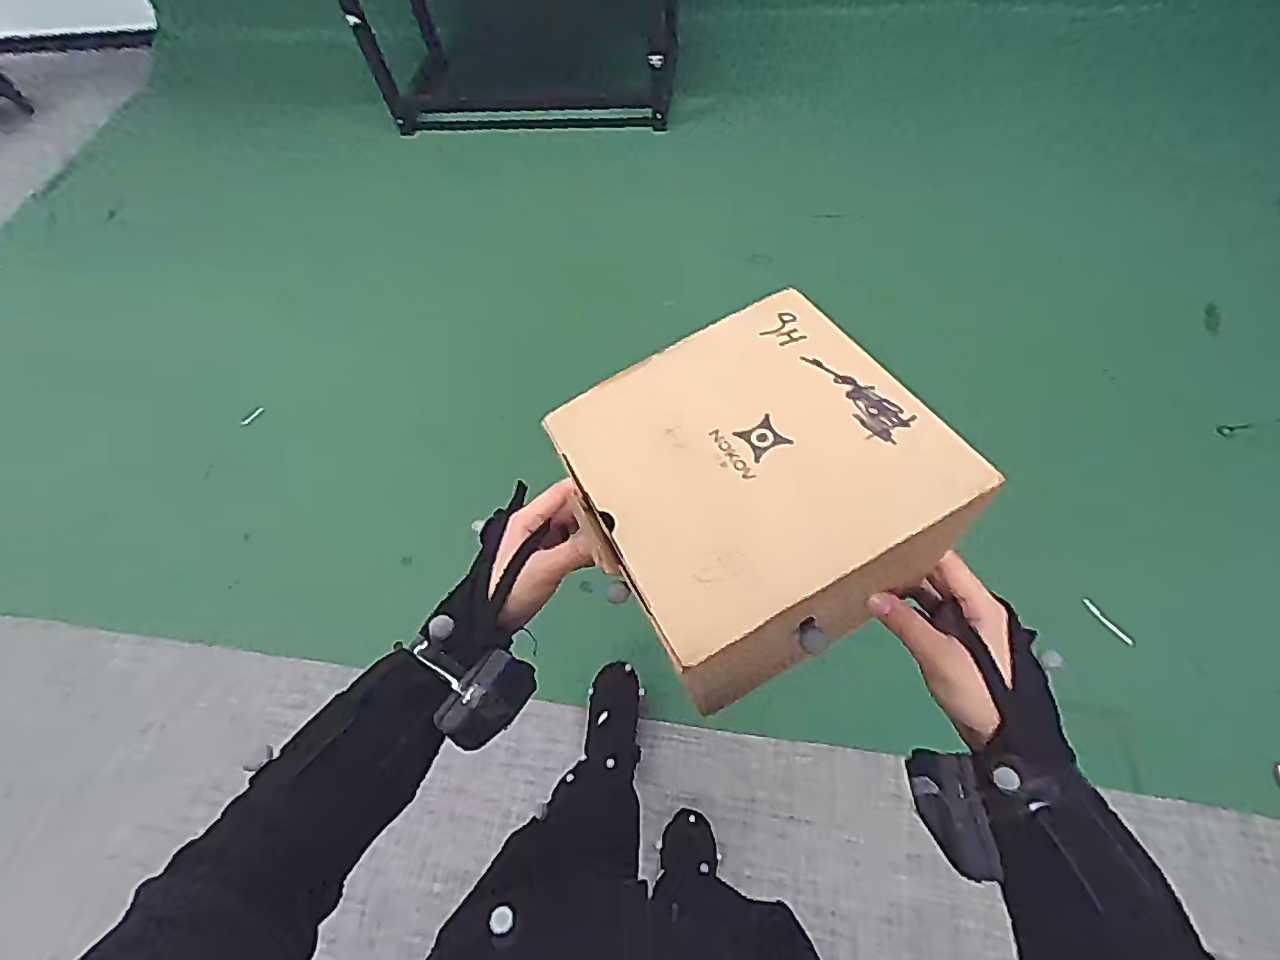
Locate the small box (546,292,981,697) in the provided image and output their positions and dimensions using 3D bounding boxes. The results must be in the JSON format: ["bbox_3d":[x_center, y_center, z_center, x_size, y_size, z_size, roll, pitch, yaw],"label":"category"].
[{"bbox_3d":[0.068,0.021,0.357,0.179,0.176,0.168,-29,60,-5],"label":"small box"}]
